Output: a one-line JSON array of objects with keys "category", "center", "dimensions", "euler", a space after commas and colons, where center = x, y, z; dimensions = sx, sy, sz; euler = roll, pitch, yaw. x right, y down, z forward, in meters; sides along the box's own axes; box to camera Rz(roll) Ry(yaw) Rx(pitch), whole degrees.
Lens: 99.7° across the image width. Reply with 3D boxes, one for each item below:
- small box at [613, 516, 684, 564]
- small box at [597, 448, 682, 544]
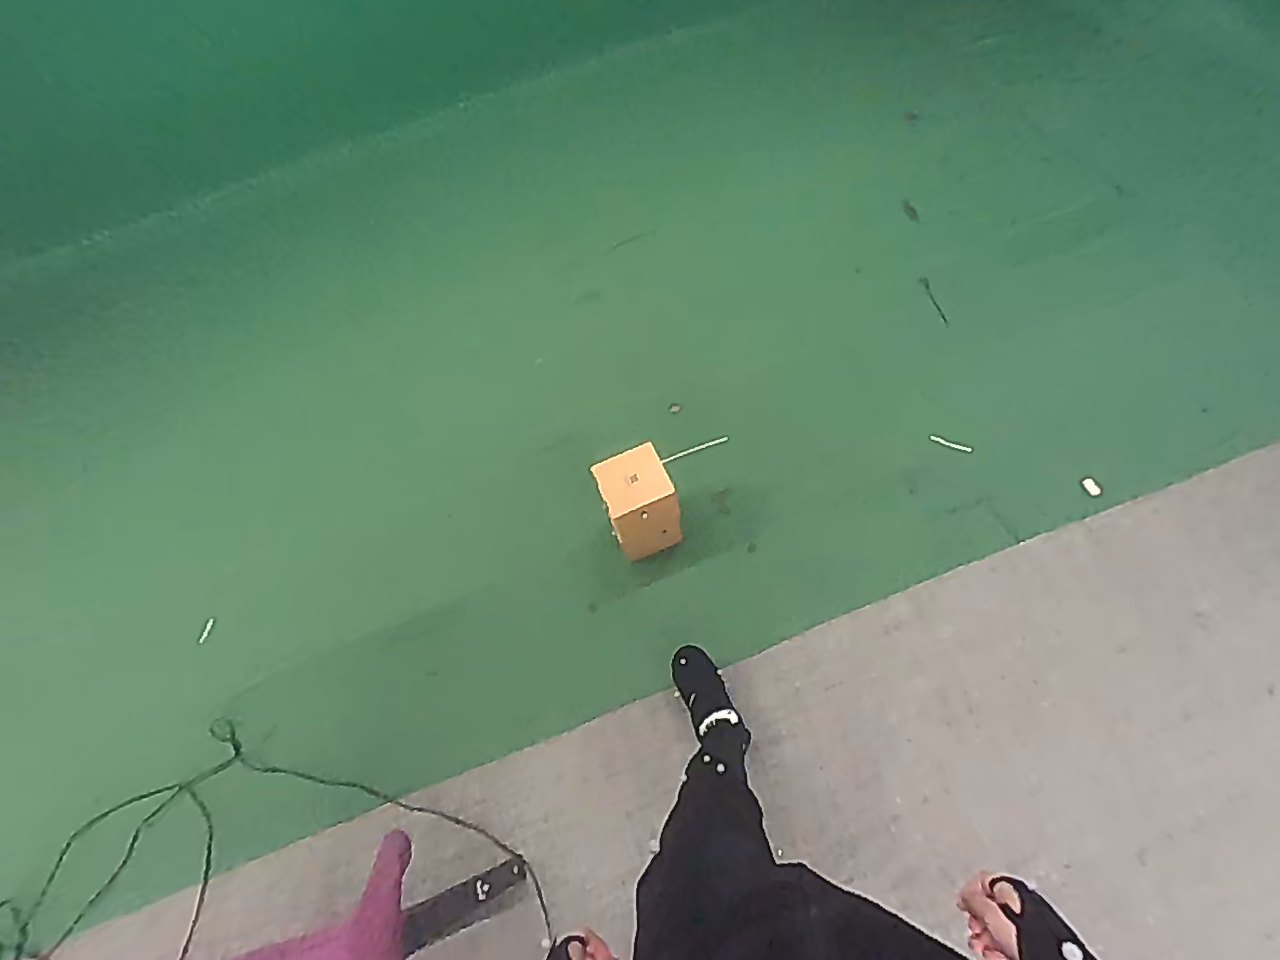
[{"category": "small box", "center": [0.023, 0.126, 1.592], "dimensions": [0.179, 0.176, 0.168], "euler": [-22, 61, -2]}, {"category": "small box", "center": [0.005, 0.047, 1.450], "dimensions": [0.179, 0.176, 0.168], "euler": [-24, 62, -2]}]
